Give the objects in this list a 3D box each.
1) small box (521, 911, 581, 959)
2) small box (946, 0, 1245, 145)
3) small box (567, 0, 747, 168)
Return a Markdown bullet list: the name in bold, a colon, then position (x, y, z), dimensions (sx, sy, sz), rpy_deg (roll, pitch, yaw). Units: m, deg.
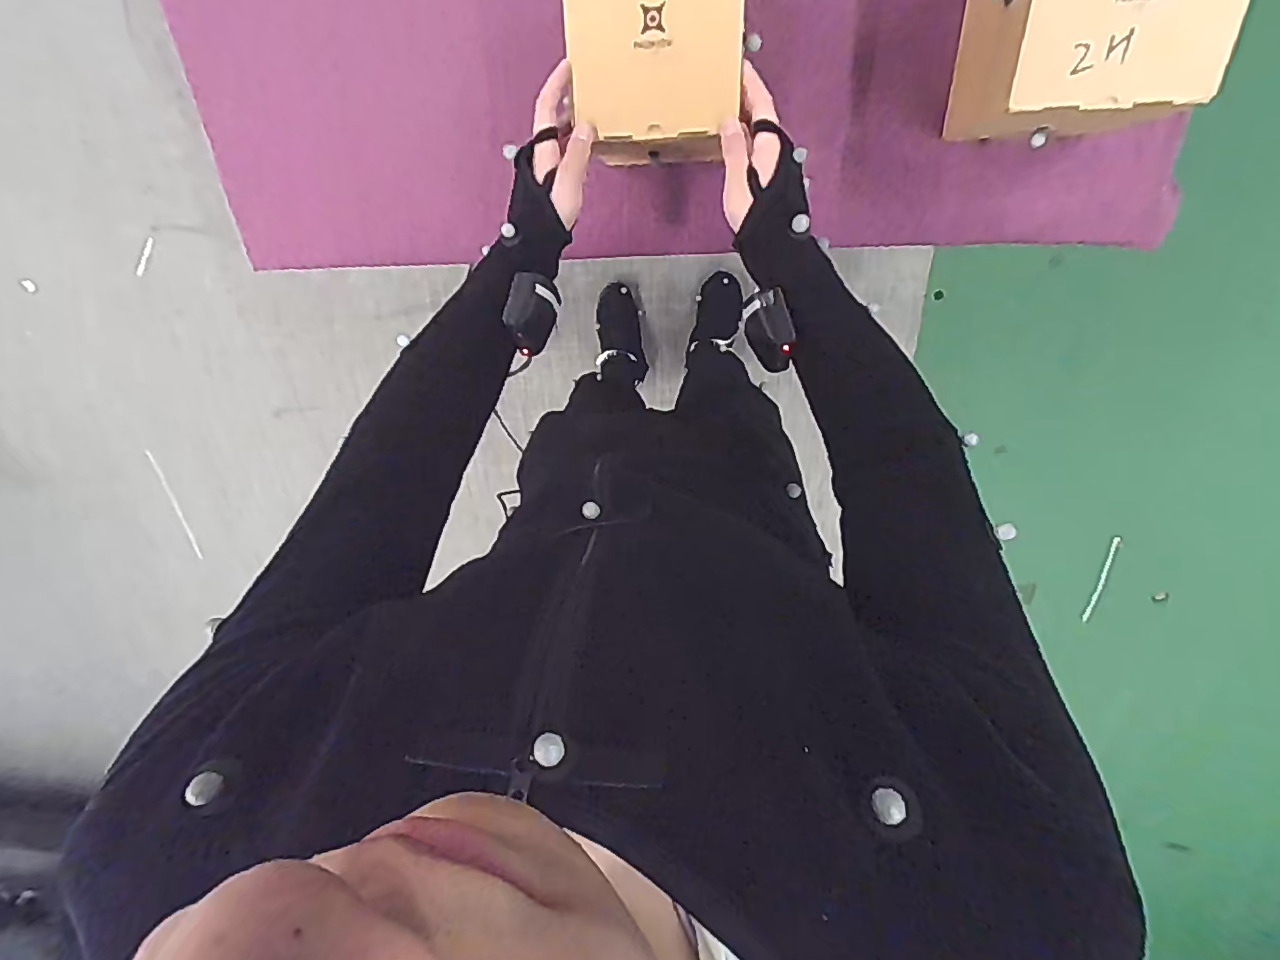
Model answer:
- **small box**: position (-0.293, 1.555, 1.757), dimensions (0.168, 0.176, 0.179), rpy_deg (9, 116, 4)
- **small box**: position (0.420, -0.436, 0.517), dimensions (0.168, 0.176, 0.179), rpy_deg (3, 115, 8)
- **small box**: position (0.023, -0.441, 0.567), dimensions (0.168, 0.176, 0.179), rpy_deg (2, 115, 7)
